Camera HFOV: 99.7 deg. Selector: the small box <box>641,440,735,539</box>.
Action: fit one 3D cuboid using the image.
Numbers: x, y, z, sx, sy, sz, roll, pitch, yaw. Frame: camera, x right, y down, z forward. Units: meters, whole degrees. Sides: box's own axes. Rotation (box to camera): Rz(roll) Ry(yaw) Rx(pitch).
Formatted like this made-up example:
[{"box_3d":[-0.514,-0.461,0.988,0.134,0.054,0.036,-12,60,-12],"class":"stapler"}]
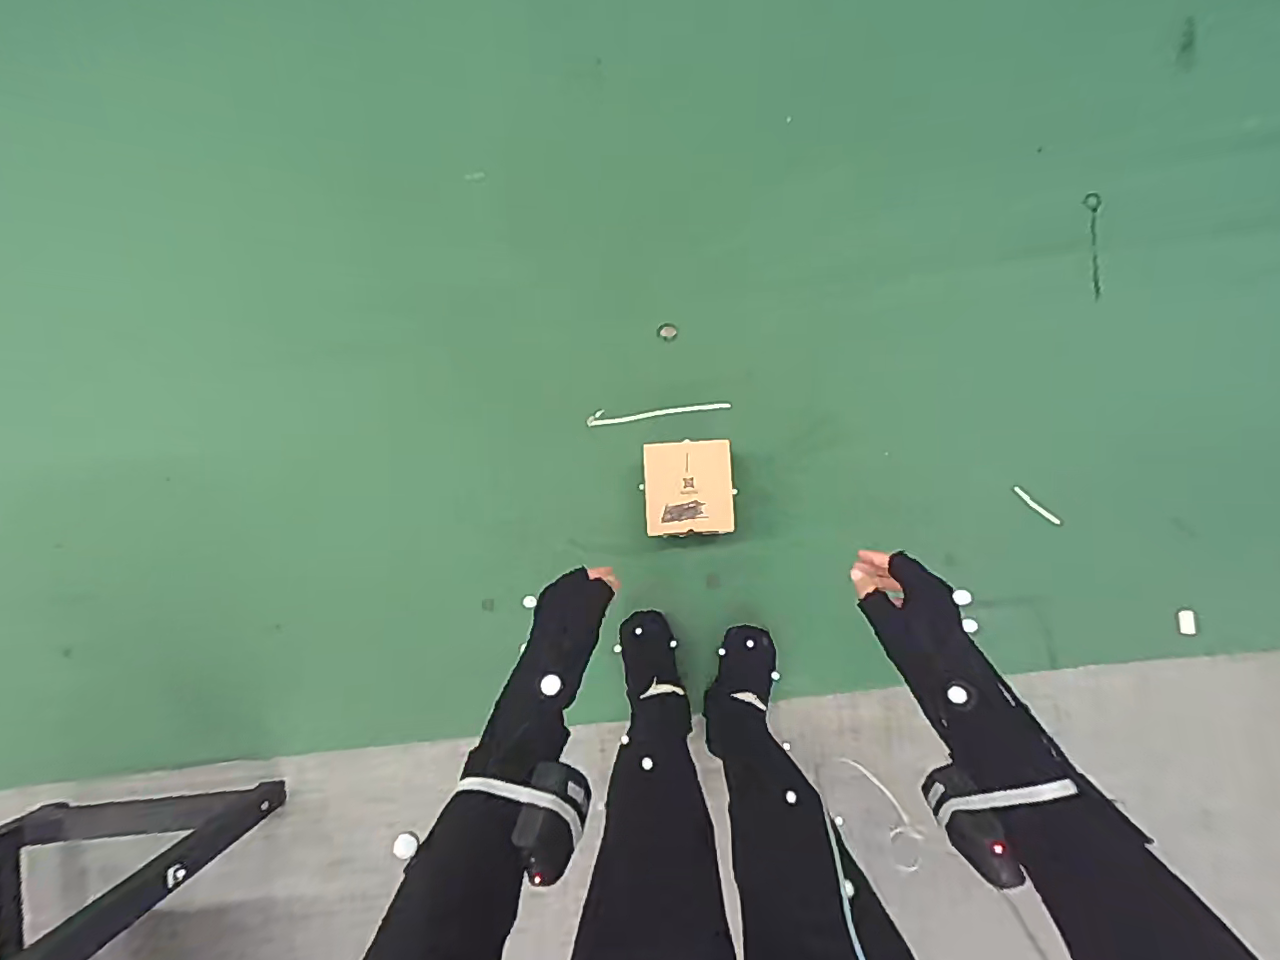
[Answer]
[{"box_3d":[0.094,0.018,1.093,0.168,0.176,0.179,-6,89,3],"class":"small box"}]
